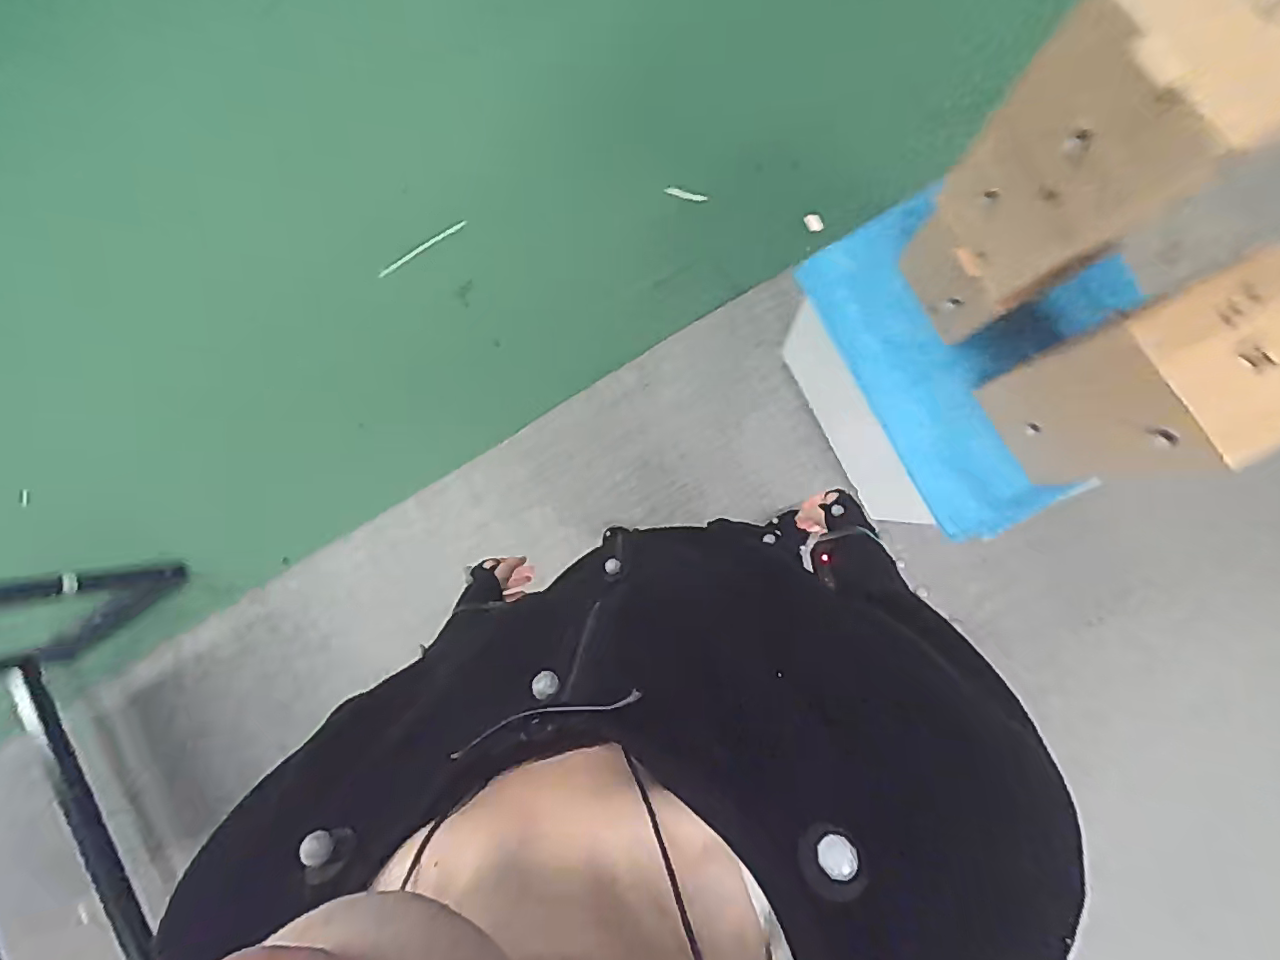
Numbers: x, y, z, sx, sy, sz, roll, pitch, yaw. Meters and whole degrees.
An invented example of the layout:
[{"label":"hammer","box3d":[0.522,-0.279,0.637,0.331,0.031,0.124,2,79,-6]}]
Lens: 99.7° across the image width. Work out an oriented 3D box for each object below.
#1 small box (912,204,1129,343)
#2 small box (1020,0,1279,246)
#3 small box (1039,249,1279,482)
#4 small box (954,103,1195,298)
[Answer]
[{"label":"small box","box3d":[0.528,-0.324,0.789,0.179,0.176,0.168,-26,85,5]},{"label":"small box","box3d":[0.476,-0.339,0.467,0.179,0.176,0.168,-26,86,5]},{"label":"small box","box3d":[0.607,-0.109,0.600,0.168,0.176,0.179,-30,83,5]},{"label":"small box","box3d":[0.503,-0.342,0.629,0.179,0.176,0.168,-25,85,4]}]
